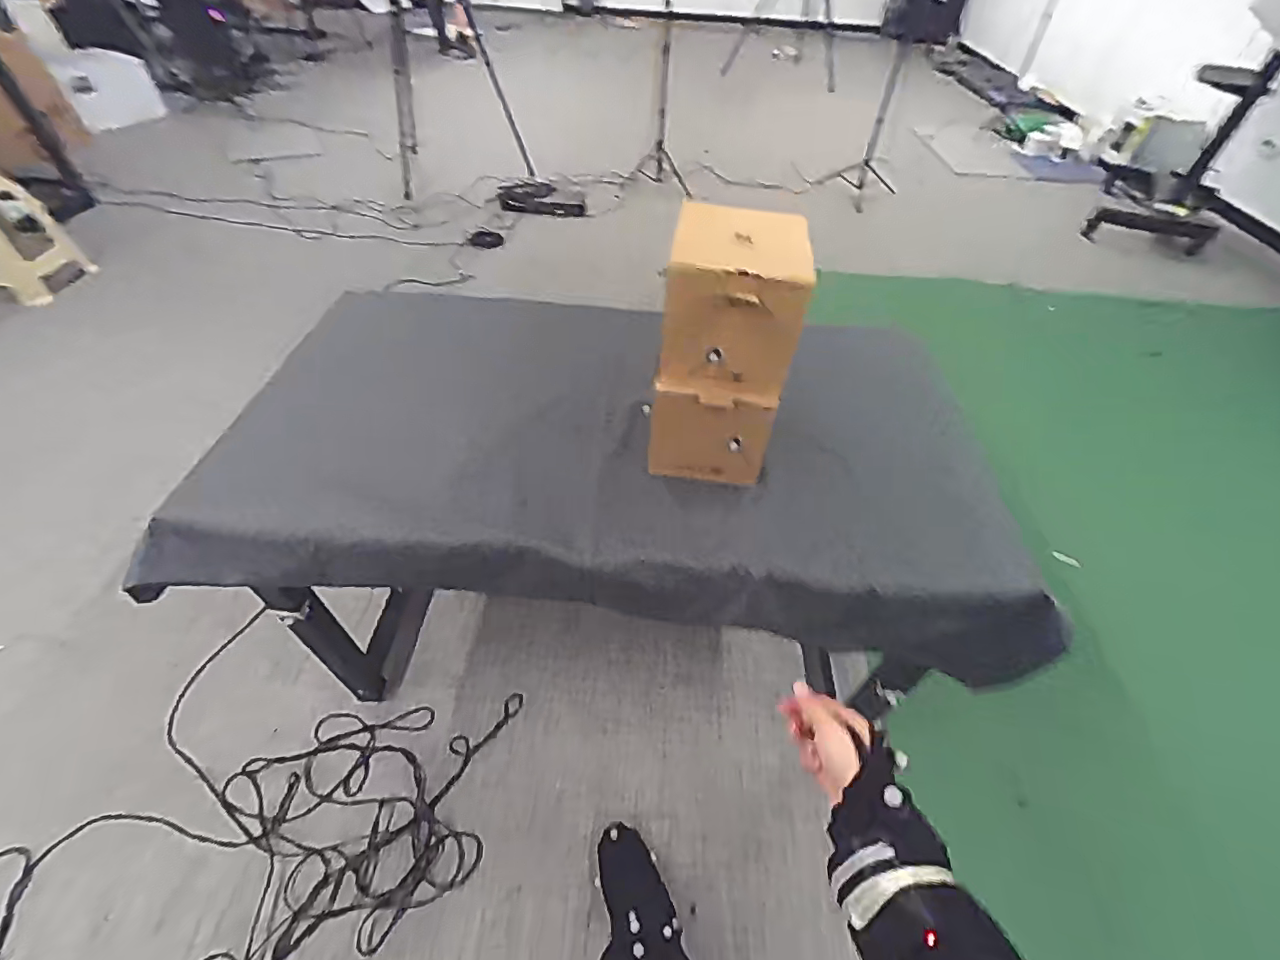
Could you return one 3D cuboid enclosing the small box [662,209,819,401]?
[{"bbox_3d":[0.124,-0.228,0.712,0.168,0.176,0.179,8,49,3],"label":"small box"}]

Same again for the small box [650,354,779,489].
[{"bbox_3d":[0.109,-0.107,0.821,0.168,0.176,0.179,8,47,2],"label":"small box"}]
